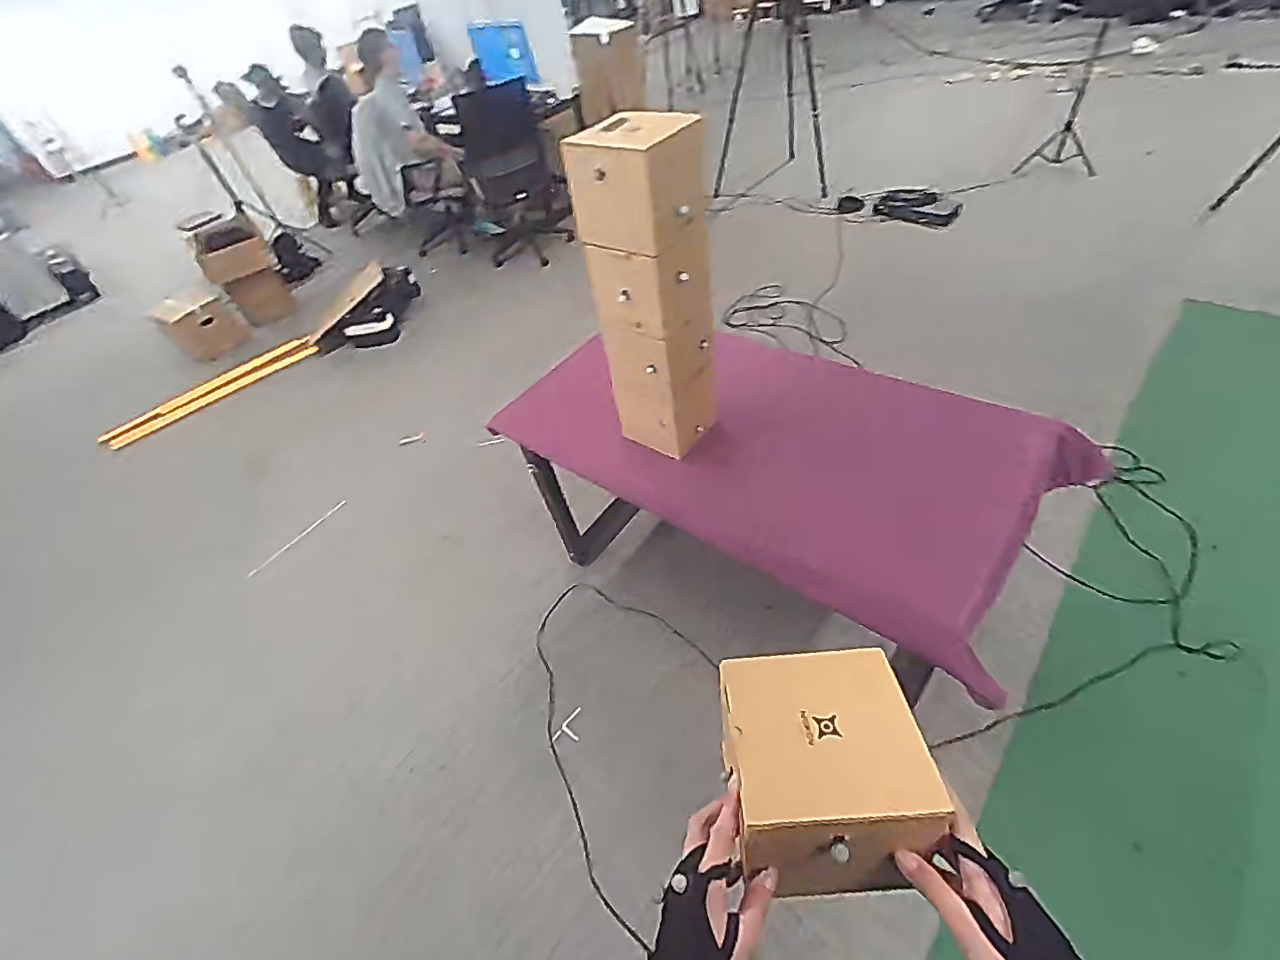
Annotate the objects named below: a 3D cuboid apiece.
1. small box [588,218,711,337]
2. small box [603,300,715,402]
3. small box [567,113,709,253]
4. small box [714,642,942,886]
[{"bbox_3d":[0.029,-0.408,1.063,0.168,0.176,0.179,25,57,29],"label":"small box"},{"bbox_3d":[0.050,-0.294,1.178,0.179,0.176,0.168,26,57,31],"label":"small box"},{"bbox_3d":[0.004,-0.516,0.941,0.179,0.176,0.168,25,57,29],"label":"small box"},{"bbox_3d":[0.175,0.294,0.563,0.179,0.176,0.168,-7,35,4],"label":"small box"}]
